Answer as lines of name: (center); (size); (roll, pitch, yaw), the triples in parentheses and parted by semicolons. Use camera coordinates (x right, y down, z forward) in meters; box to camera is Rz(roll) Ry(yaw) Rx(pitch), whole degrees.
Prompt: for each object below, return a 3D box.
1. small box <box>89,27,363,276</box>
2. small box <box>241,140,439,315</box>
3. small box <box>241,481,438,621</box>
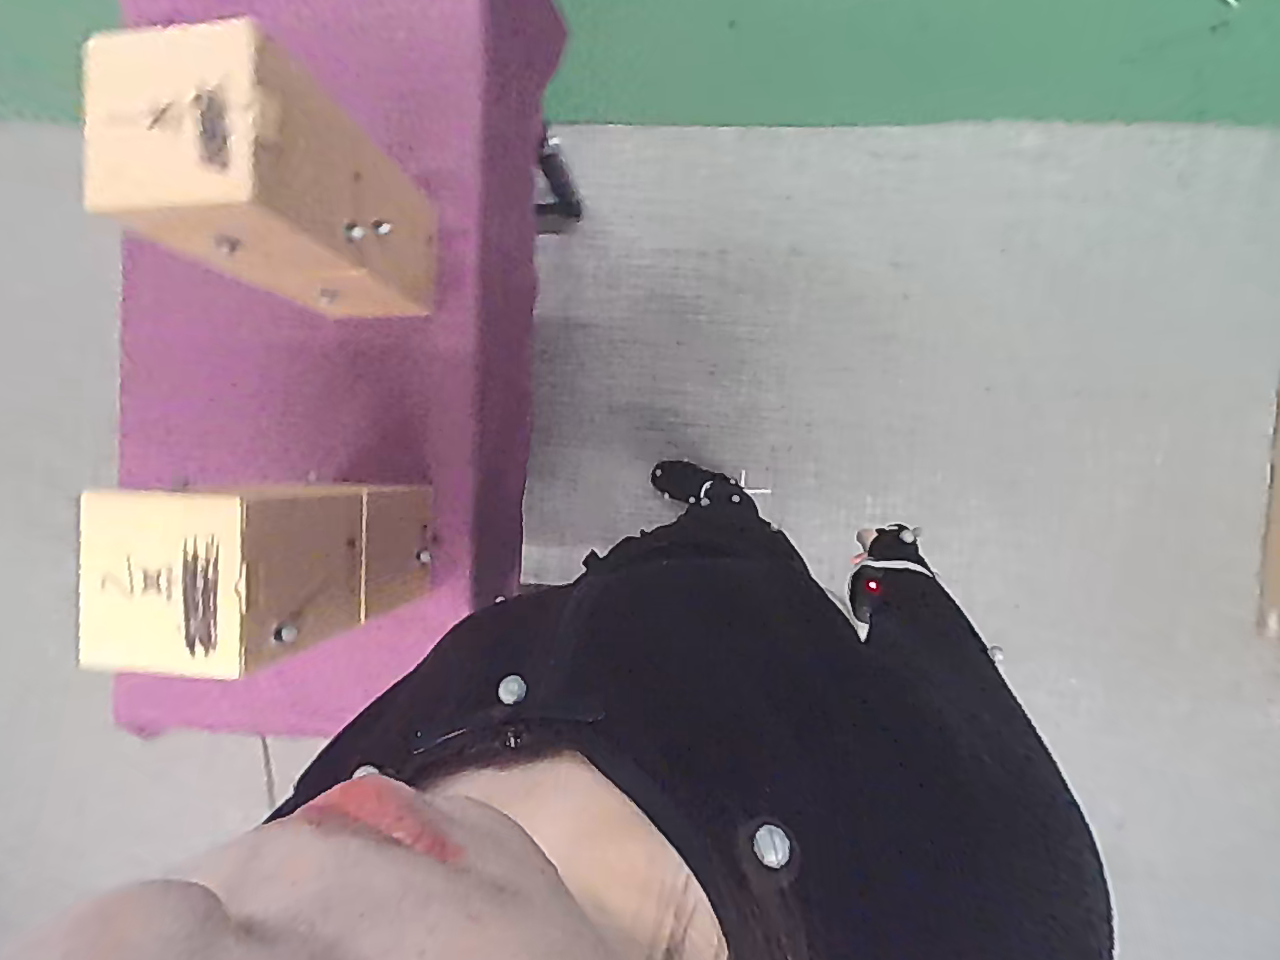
small box: (-0.424, -0.332, 0.581); (0.179, 0.176, 0.168); (0, 90, 8)
small box: (-0.402, -0.332, 0.744); (0.179, 0.176, 0.168); (1, 92, 8)
small box: (-0.405, 0.088, 0.749); (0.179, 0.176, 0.168); (1, 91, 7)
